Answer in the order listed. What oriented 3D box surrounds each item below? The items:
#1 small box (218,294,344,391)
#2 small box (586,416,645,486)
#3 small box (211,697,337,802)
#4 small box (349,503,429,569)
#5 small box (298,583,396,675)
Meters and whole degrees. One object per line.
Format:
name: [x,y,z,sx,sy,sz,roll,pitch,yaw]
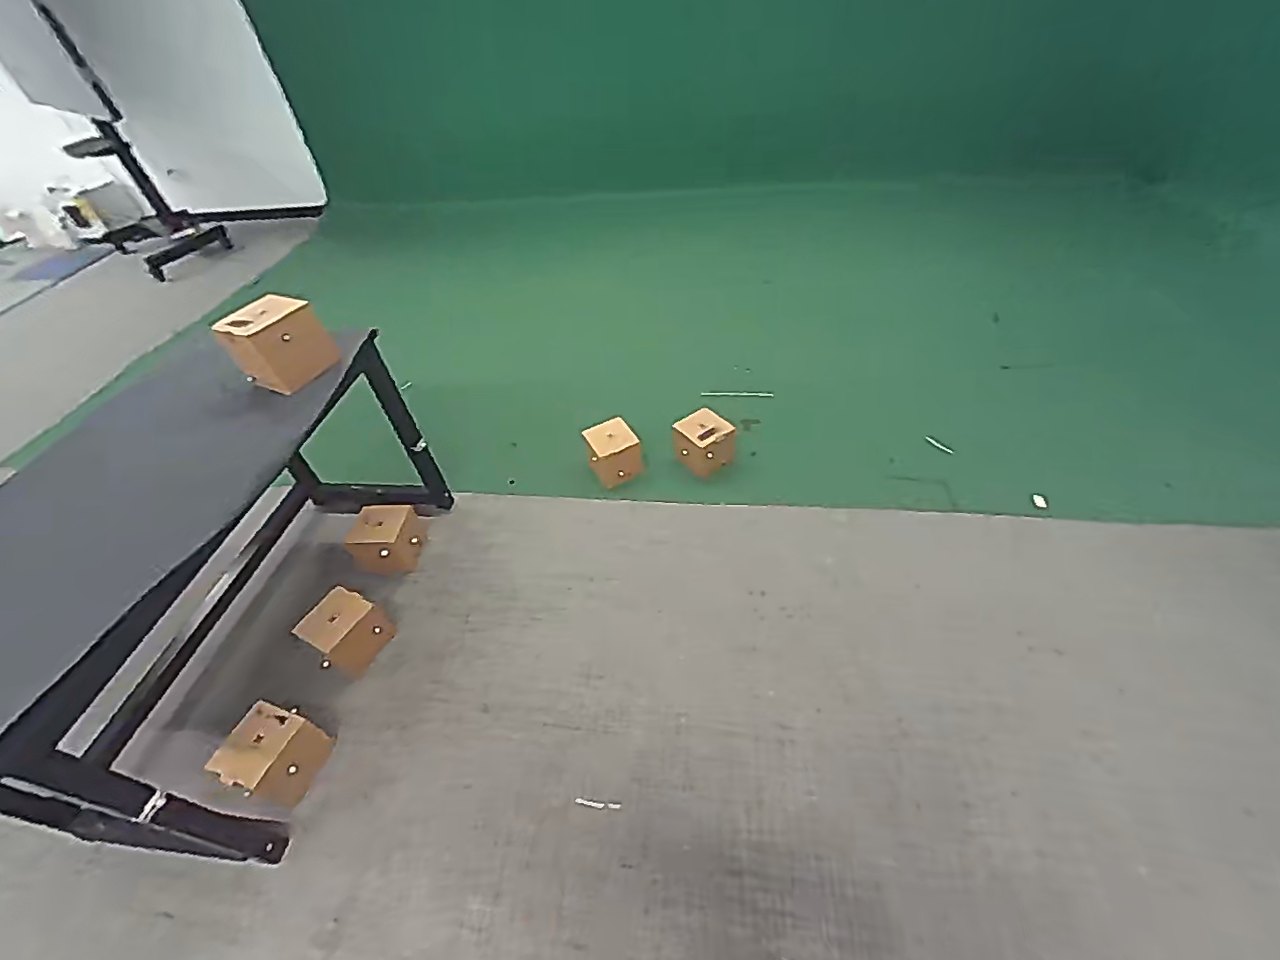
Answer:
small box: [-0.910,-0.351,1.386,0.168,0.176,0.179,17,52,25]
small box: [-0.093,-0.110,2.078,0.168,0.176,0.179,-24,49,-16]
small box: [-0.932,0.700,1.398,0.168,0.176,0.179,11,49,17]
small box: [-0.858,0.197,1.872,0.179,0.176,0.168,-2,45,5]
small box: [-0.870,0.450,1.631,0.168,0.176,0.179,17,52,23]
